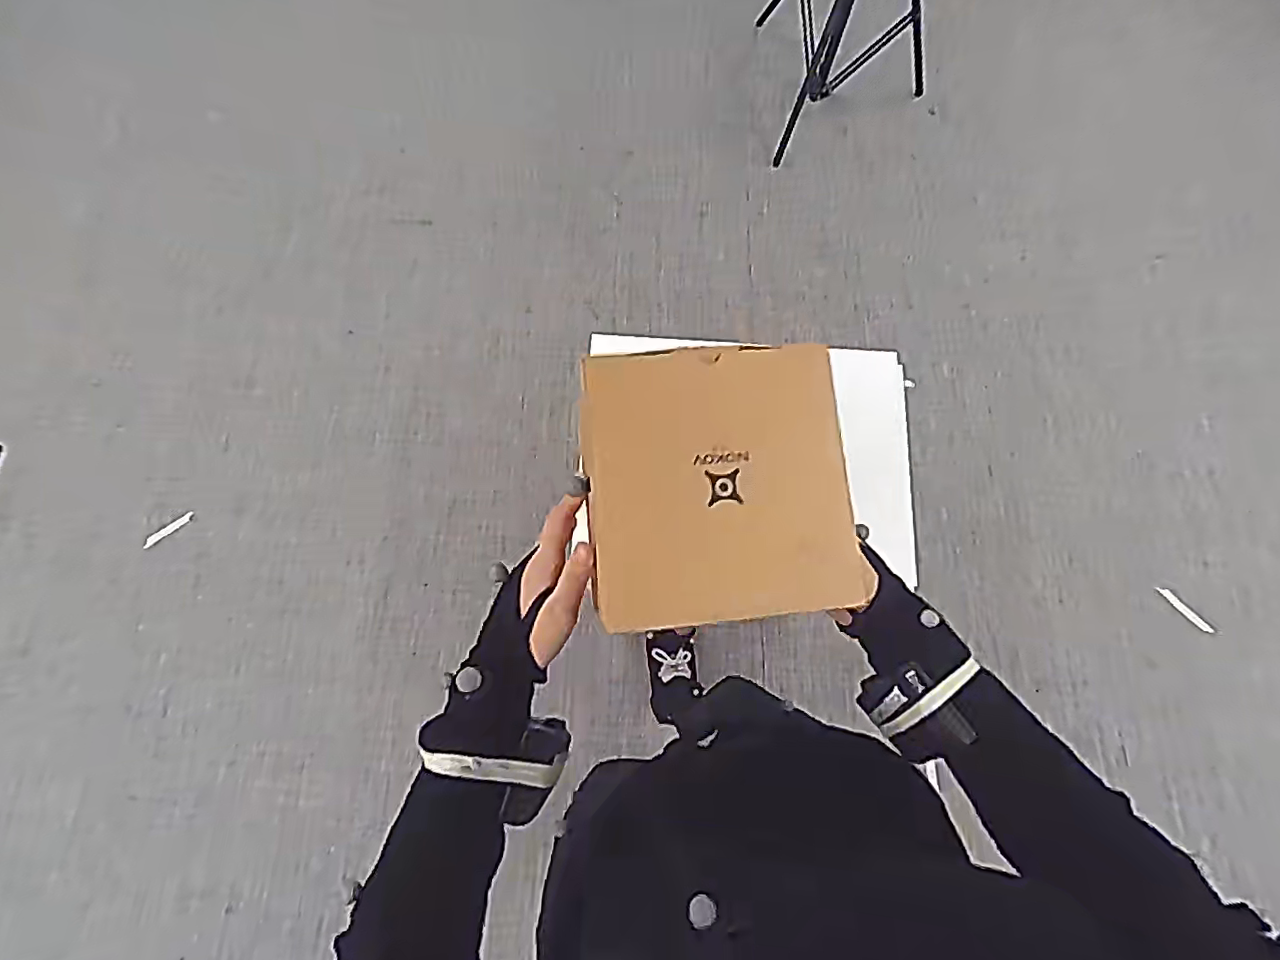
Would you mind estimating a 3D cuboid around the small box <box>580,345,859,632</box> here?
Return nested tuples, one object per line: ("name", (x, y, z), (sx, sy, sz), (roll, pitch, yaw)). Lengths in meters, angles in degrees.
("small box", (0.044, 0.012, 0.425), (0.168, 0.176, 0.179), (-5, 81, -7))
